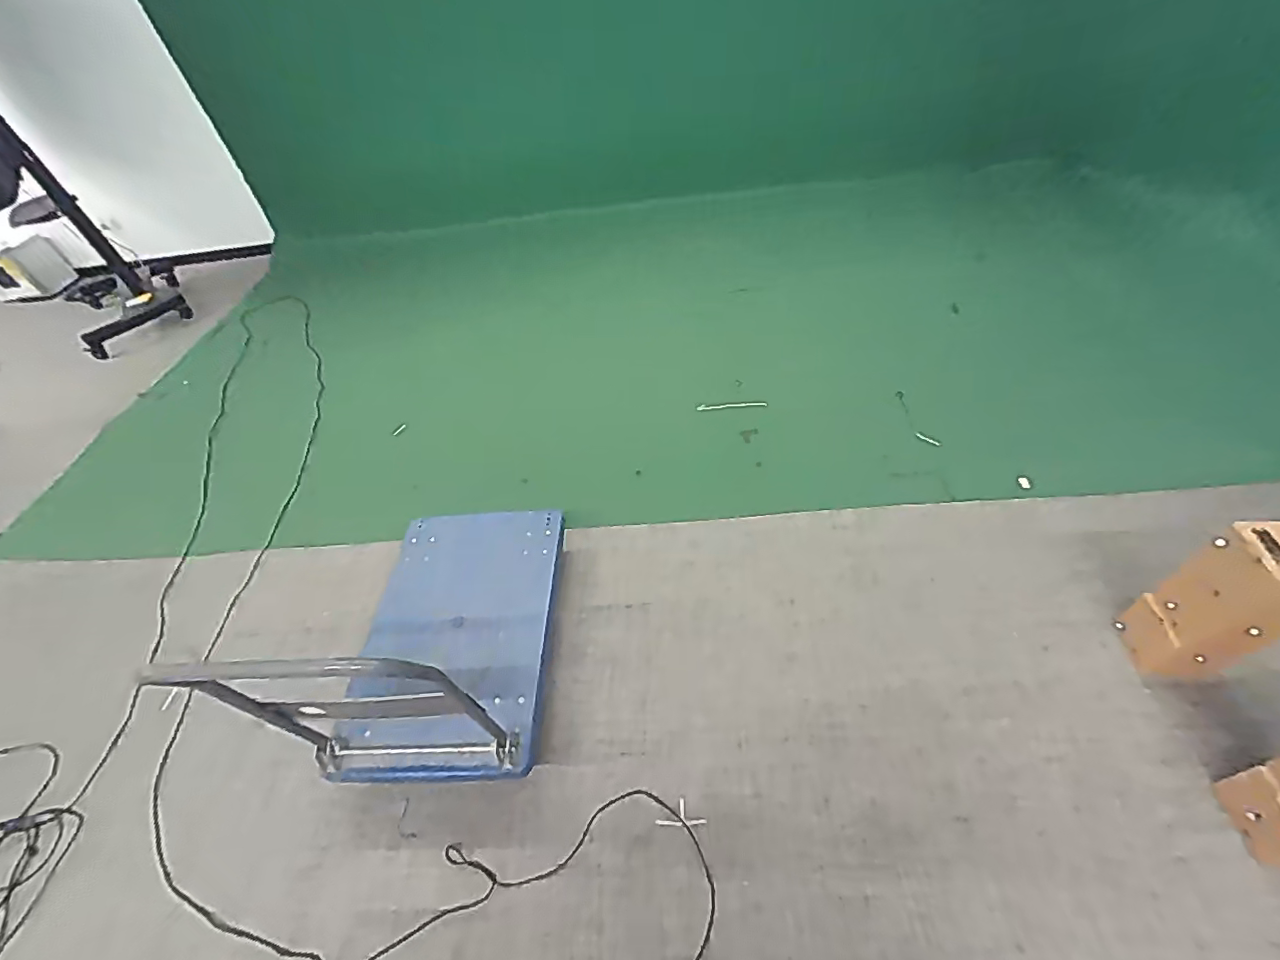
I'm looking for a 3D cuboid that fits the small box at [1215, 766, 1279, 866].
[{"bbox_3d":[1.463,0.754,1.209,0.179,0.176,0.168,-2,47,7],"label":"small box"}]

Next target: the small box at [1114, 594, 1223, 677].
[{"bbox_3d":[1.479,0.434,1.506,0.179,0.176,0.168,1,48,8],"label":"small box"}]

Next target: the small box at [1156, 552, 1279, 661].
[{"bbox_3d":[1.481,0.327,1.393,0.168,0.176,0.179,25,55,30],"label":"small box"}]

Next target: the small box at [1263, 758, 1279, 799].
[{"bbox_3d":[1.455,0.642,1.088,0.179,0.176,0.168,1,47,10],"label":"small box"}]
